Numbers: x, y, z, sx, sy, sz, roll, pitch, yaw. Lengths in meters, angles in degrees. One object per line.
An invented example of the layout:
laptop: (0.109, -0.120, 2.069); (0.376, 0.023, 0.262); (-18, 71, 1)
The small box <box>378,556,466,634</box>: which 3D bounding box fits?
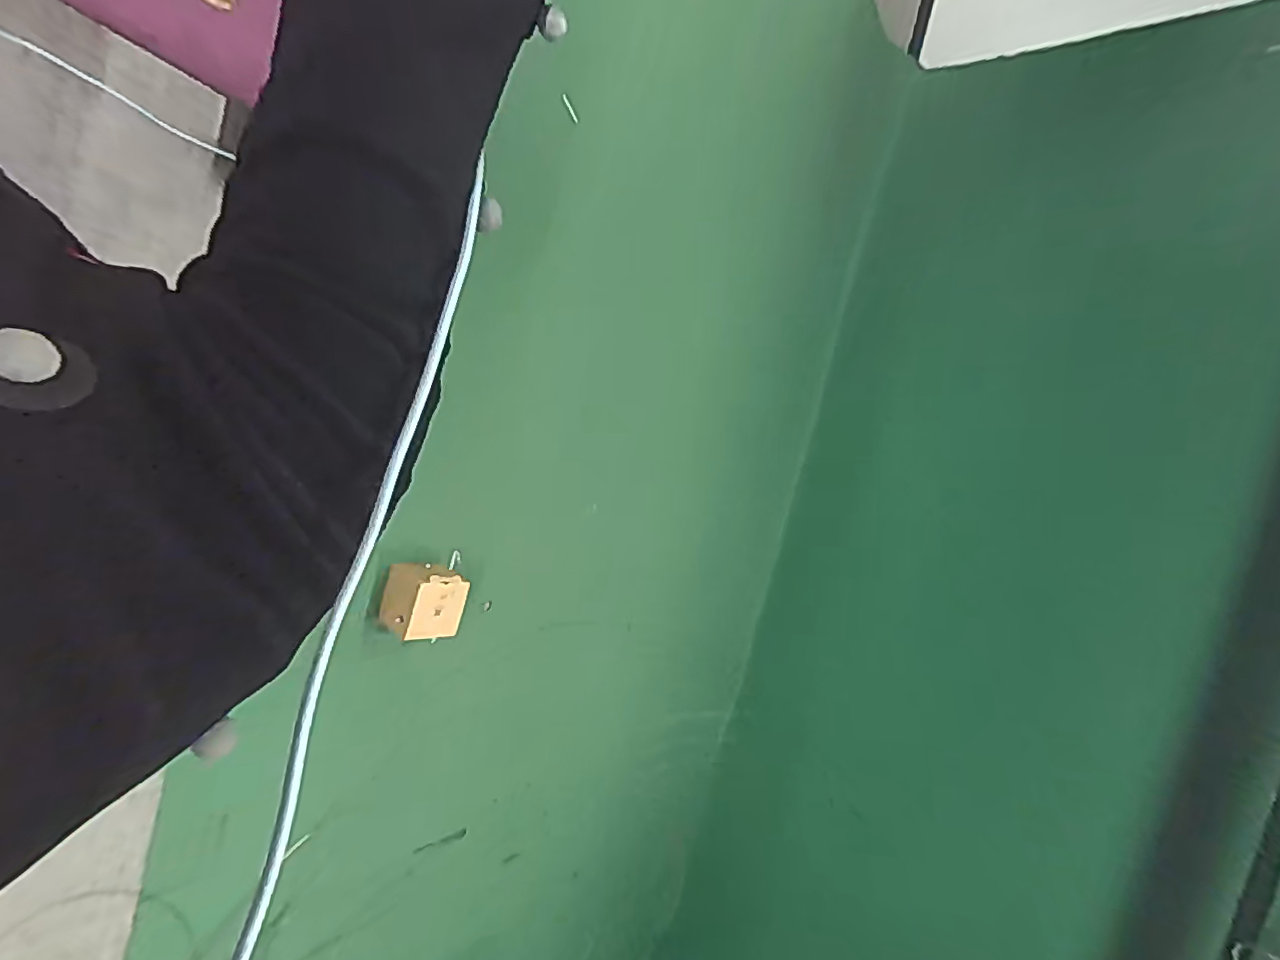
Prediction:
small box: (-0.661, 0.342, 1.627); (0.168, 0.176, 0.179); (13, 94, -53)
